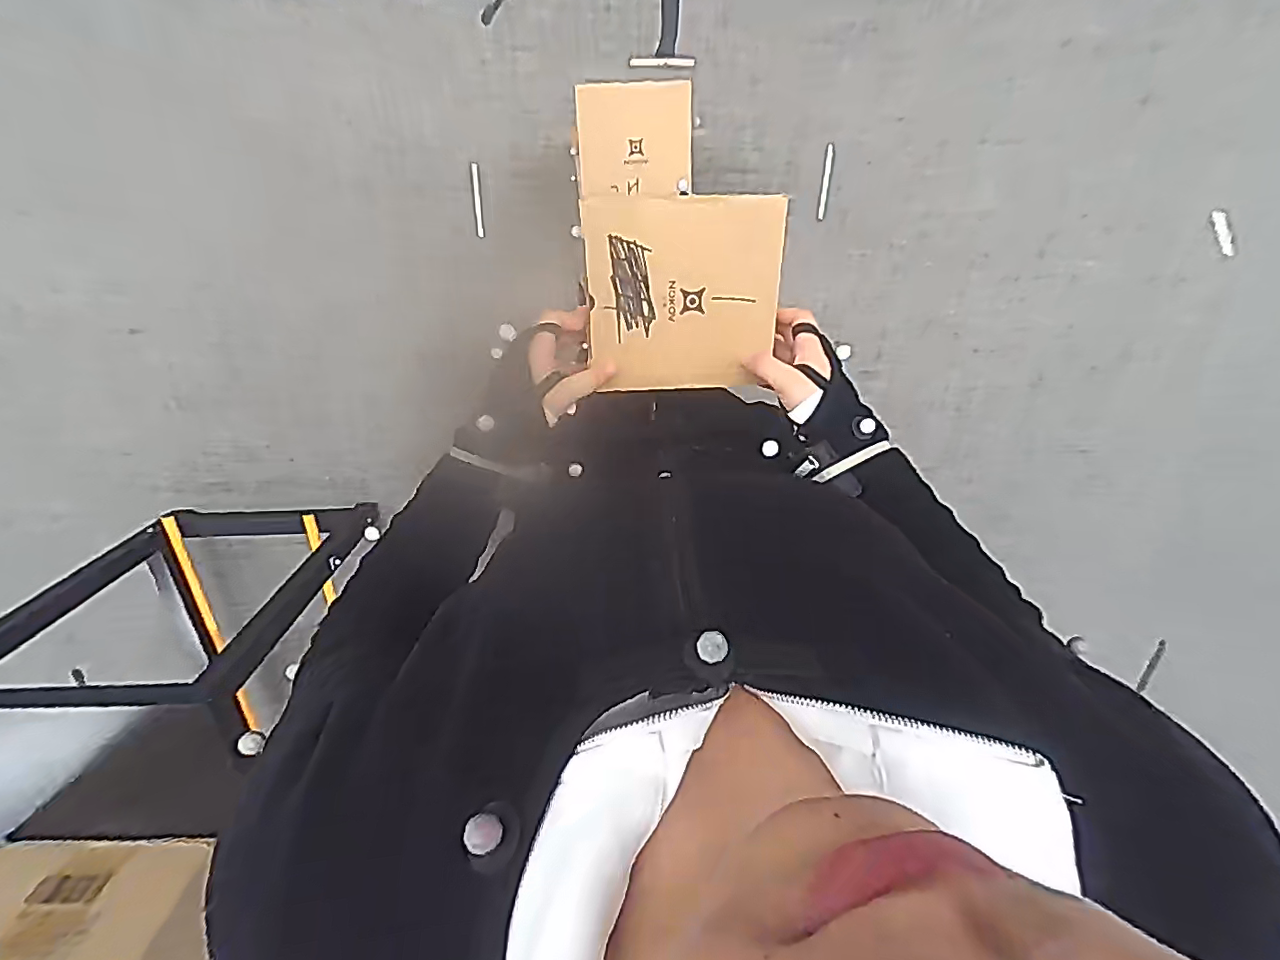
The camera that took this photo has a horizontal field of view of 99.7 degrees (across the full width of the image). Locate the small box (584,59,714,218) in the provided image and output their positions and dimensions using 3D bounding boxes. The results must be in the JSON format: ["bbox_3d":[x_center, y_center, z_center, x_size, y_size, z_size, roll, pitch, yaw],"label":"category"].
[{"bbox_3d":[0.009,-0.473,0.777,0.168,0.176,0.179,-3,116,0],"label":"small box"}]

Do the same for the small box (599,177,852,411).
[{"bbox_3d":[0.055,-0.167,0.473,0.179,0.176,0.168,-3,118,-4],"label":"small box"}]

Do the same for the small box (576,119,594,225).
[{"bbox_3d":[-0.033,-0.611,1.075,0.168,0.176,0.179,-6,117,1],"label":"small box"}]
